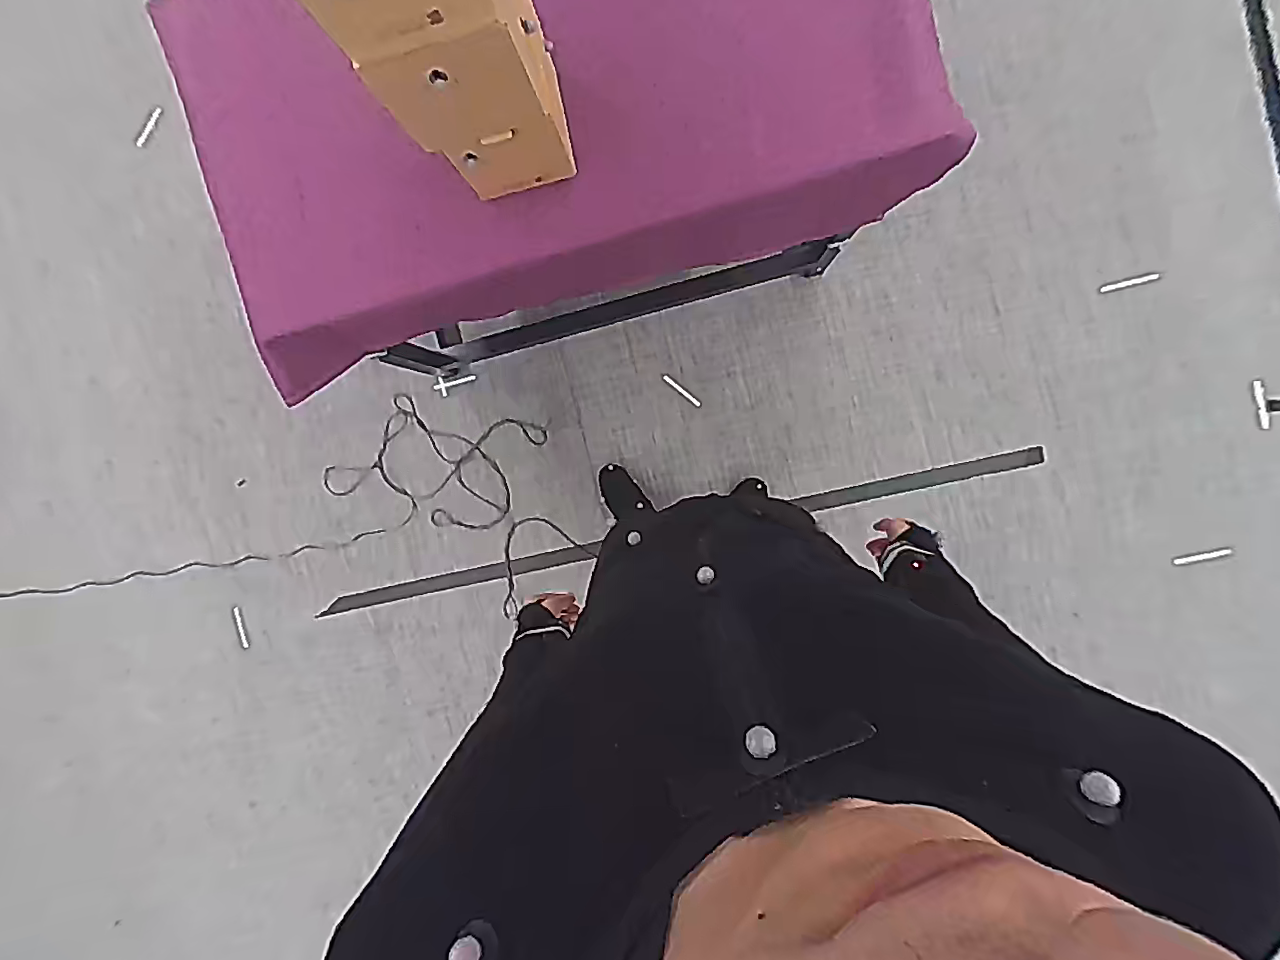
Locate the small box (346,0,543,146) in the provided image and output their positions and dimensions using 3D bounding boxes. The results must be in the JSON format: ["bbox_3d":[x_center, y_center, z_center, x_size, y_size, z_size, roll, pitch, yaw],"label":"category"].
[{"bbox_3d":[-0.234,-0.539,0.649,0.179,0.176,0.168,-11,92,5],"label":"small box"}]

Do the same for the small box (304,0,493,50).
[{"bbox_3d":[-0.249,-0.537,0.487,0.168,0.176,0.179,-12,91,5],"label":"small box"}]
